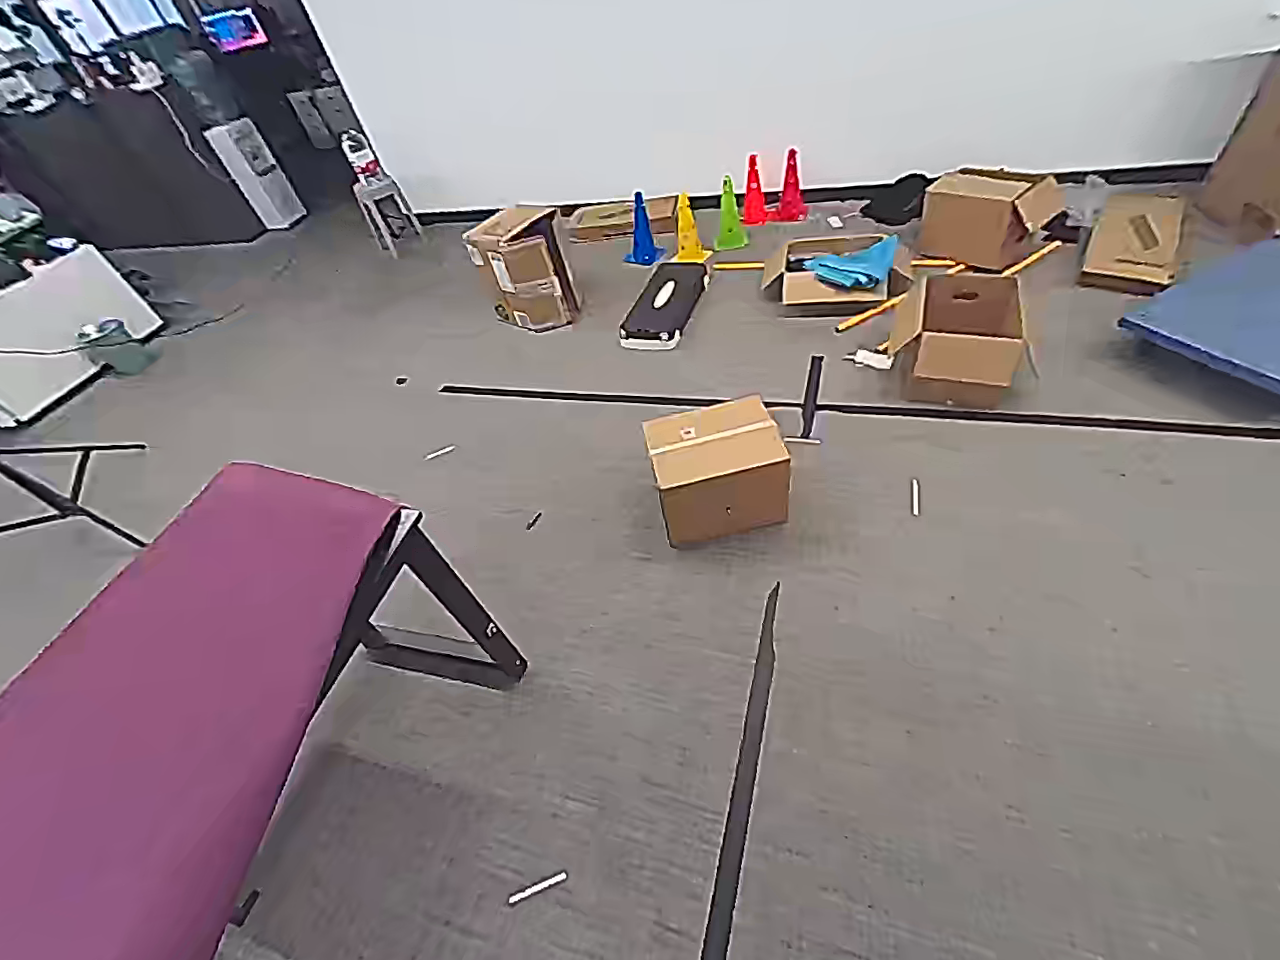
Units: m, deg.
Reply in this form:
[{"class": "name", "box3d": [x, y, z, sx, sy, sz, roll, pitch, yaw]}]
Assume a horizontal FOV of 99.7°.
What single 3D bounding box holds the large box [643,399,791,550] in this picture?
[{"class": "large box", "box3d": [0.254, -0.014, 1.802, 0.408, 0.320, 0.320, -15, 46, 1]}]
